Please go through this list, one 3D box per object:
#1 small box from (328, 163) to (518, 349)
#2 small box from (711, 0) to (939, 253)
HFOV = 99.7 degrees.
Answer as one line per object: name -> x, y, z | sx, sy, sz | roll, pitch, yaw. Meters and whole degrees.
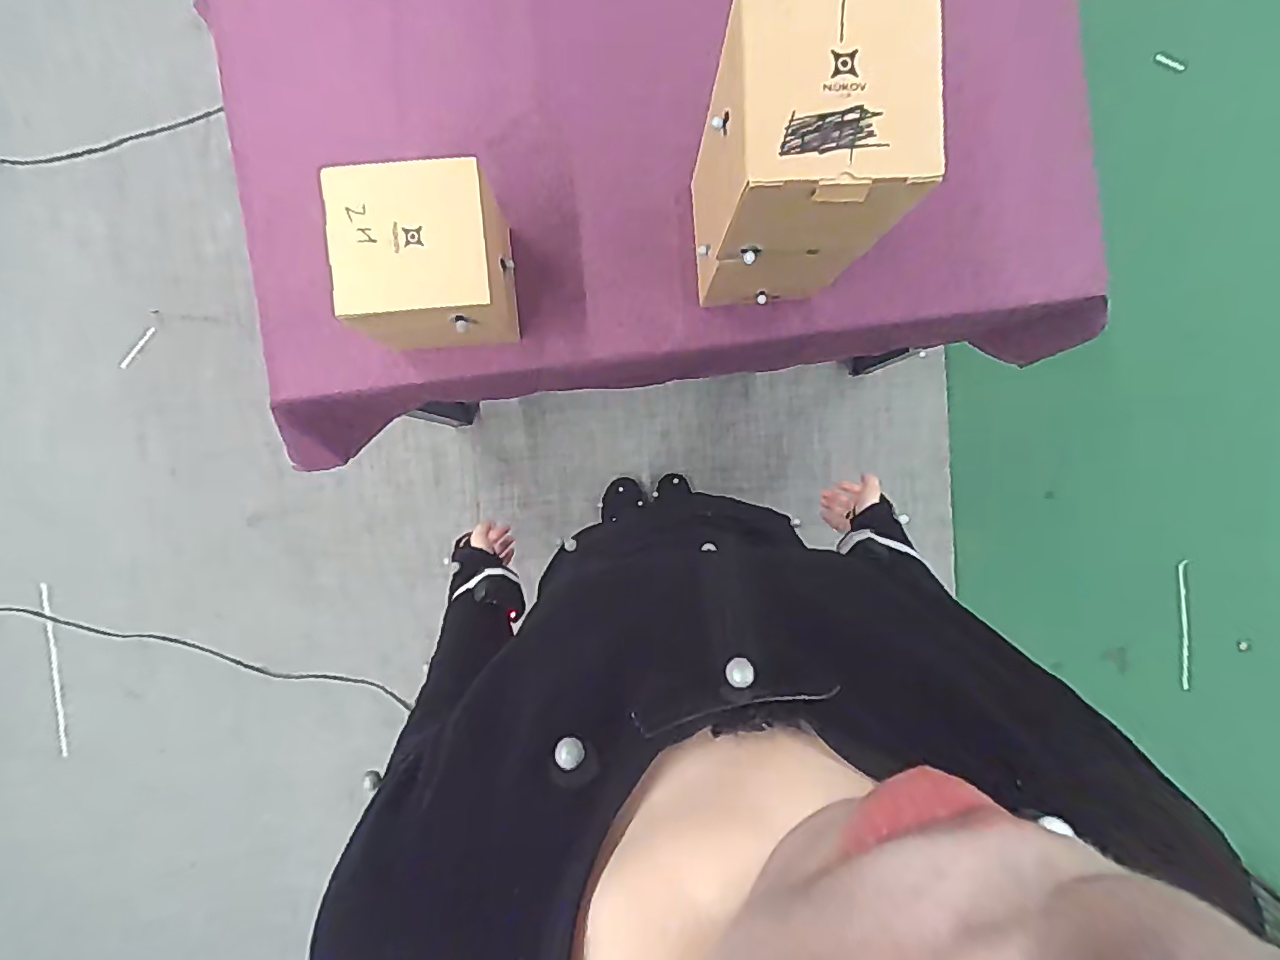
small box -> -0.258, -0.270, 0.686 | 0.179, 0.176, 0.168 | -5, 90, 0
small box -> 0.162, -0.333, 0.523 | 0.168, 0.176, 0.179 | -2, 90, 0
